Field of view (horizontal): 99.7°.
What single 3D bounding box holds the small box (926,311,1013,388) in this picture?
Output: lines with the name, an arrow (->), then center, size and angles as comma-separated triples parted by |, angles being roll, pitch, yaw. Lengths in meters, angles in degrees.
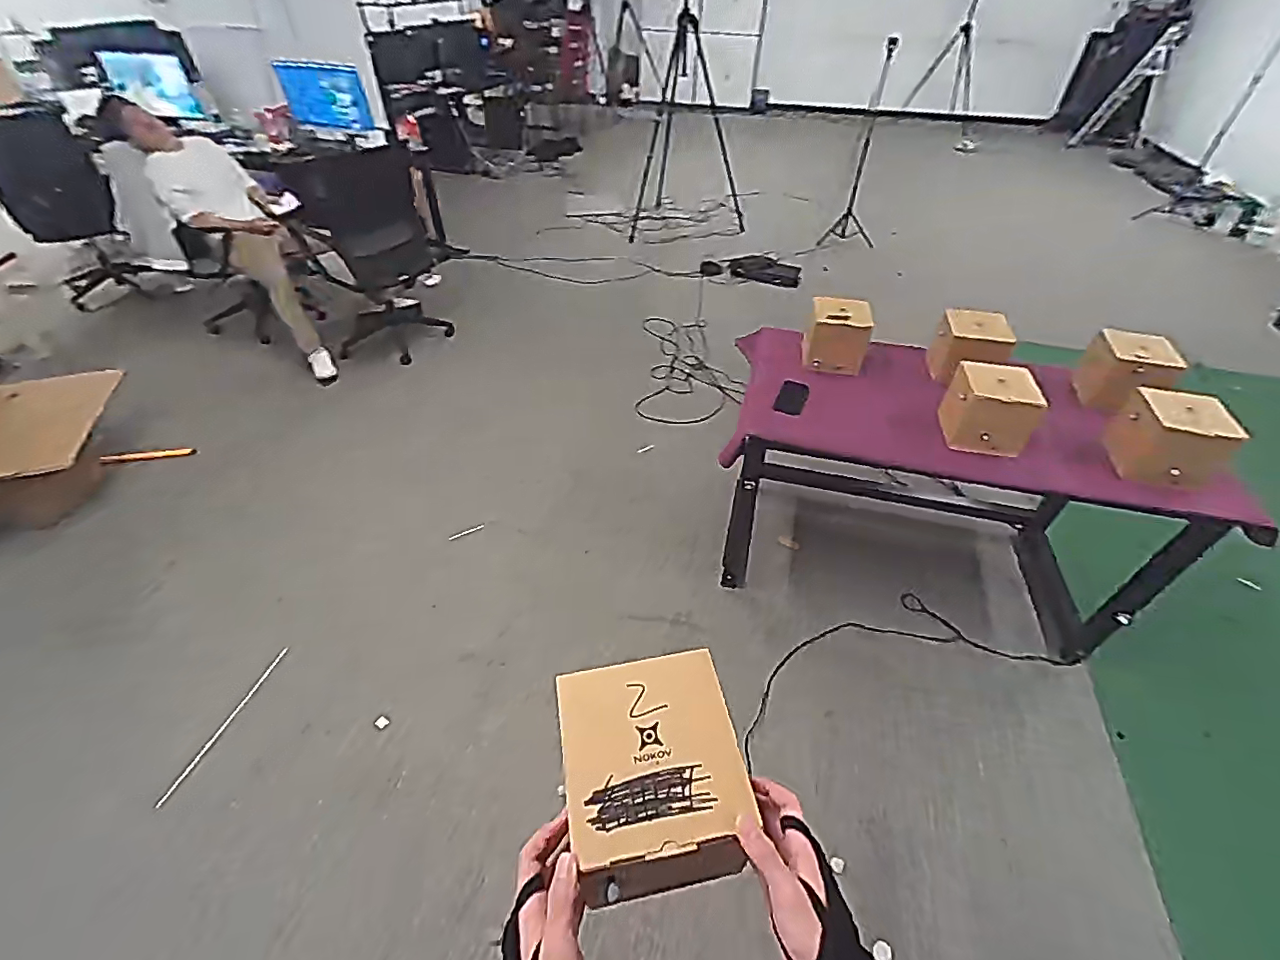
small box -> 0.988, -0.390, 1.641 | 0.168, 0.176, 0.179 | 10, 45, 10

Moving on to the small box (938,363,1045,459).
small box -> 0.906, -0.182, 1.416 | 0.168, 0.176, 0.179 | 10, 43, 9

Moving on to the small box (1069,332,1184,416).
small box -> 1.379, -0.300, 1.552 | 0.168, 0.176, 0.179 | 12, 44, 13

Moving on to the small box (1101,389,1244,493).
small box -> 1.287, -0.096, 1.326 | 0.168, 0.176, 0.179 | 12, 44, 13

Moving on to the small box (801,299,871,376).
small box -> 0.606, -0.445, 1.688 | 0.168, 0.176, 0.179 | 9, 43, 7
